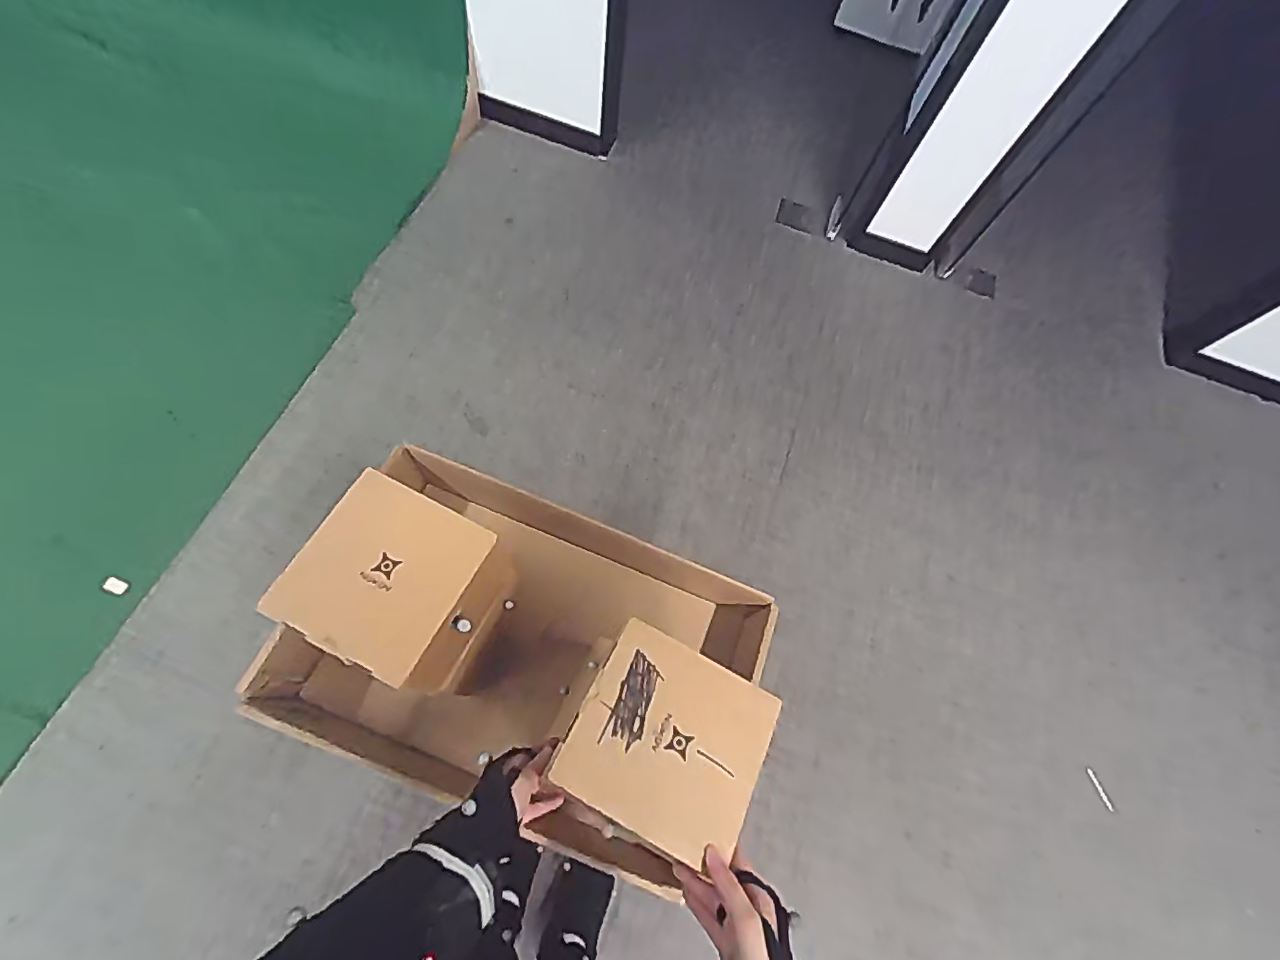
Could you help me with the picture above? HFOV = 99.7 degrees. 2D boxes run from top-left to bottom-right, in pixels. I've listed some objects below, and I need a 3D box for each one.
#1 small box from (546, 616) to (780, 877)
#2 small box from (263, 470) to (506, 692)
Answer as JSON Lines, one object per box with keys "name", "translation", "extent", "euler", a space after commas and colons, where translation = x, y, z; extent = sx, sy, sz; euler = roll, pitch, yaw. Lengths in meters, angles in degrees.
{"name": "small box", "translation": [0.014, 0.276, 0.569], "extent": [0.179, 0.176, 0.168], "euler": [29, 59, 5]}
{"name": "small box", "translation": [-0.269, 0.124, 0.624], "extent": [0.168, 0.176, 0.179], "euler": [27, 67, 4]}
